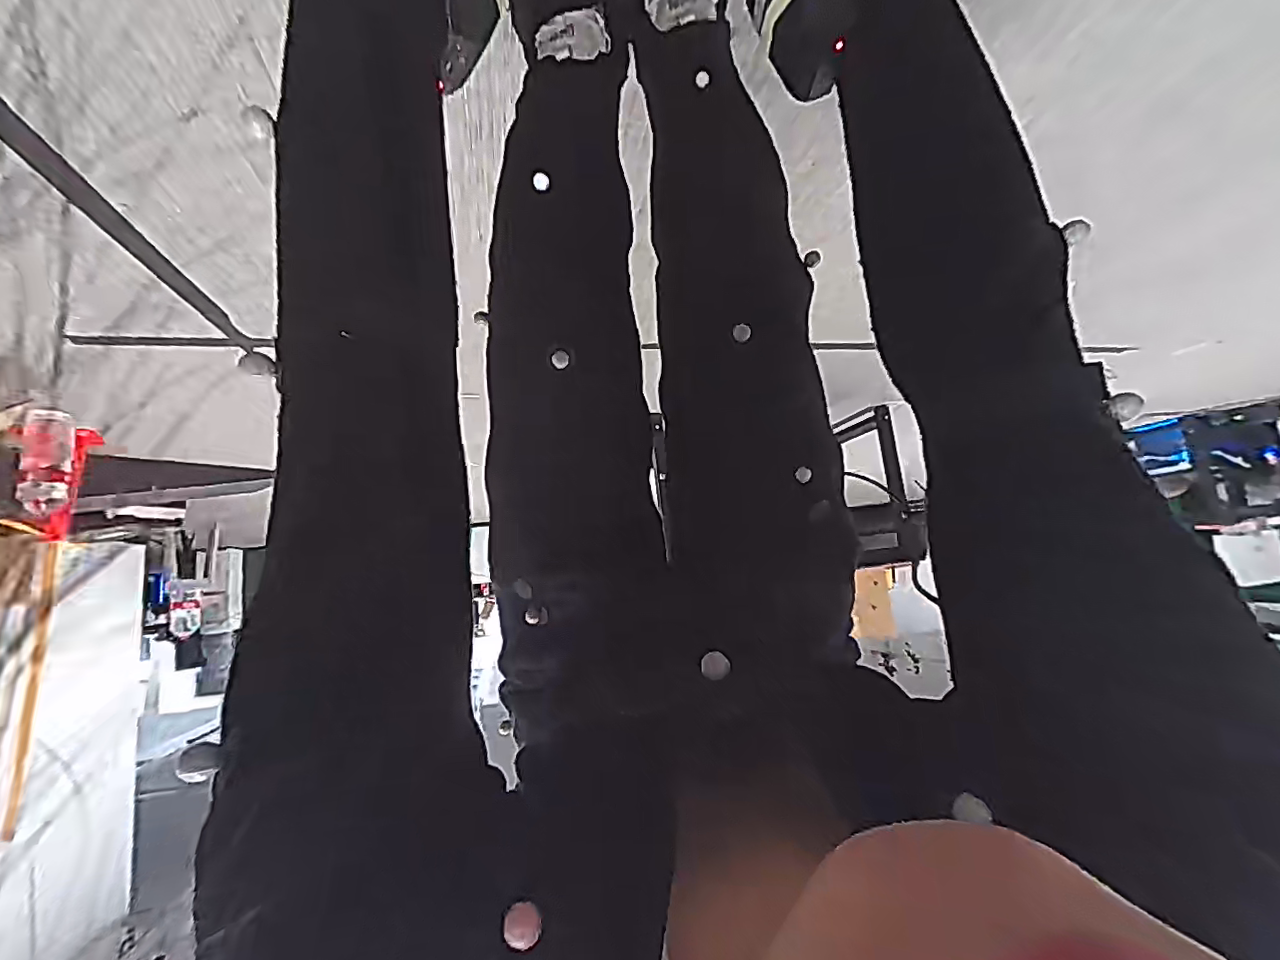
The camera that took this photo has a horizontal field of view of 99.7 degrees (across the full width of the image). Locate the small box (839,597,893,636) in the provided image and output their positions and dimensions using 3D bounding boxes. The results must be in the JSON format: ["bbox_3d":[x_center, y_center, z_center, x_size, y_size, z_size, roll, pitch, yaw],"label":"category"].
[{"bbox_3d":[1.078,0.649,2.596,0.179,0.176,0.168,-4,171,-9],"label":"small box"}]

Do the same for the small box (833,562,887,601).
[{"bbox_3d":[1.057,0.487,2.614,0.168,0.176,0.179,-4,171,-11],"label":"small box"}]
